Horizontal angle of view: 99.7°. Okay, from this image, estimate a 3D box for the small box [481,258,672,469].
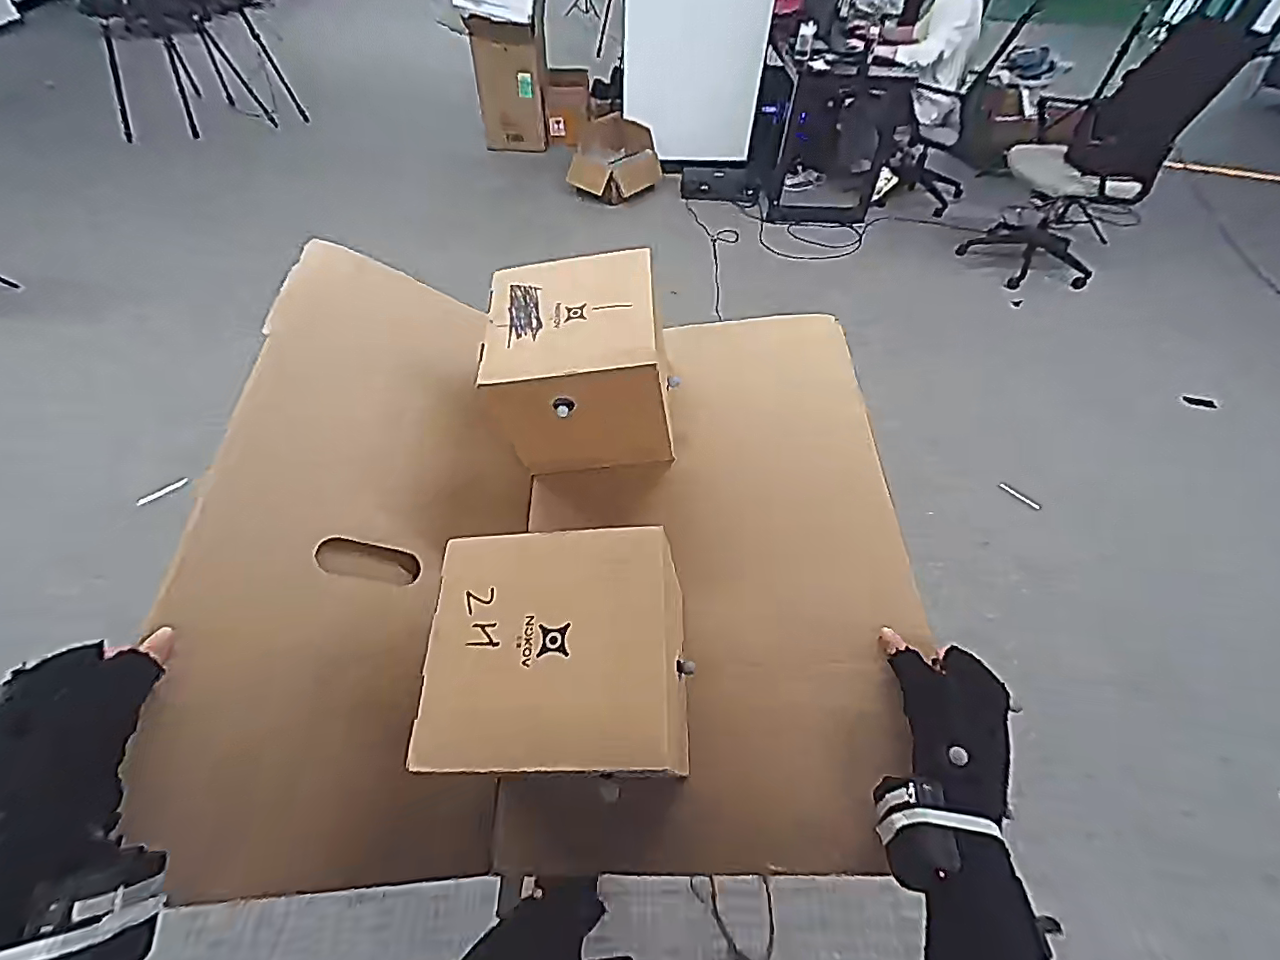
[{"bbox_3d":[-0.060,-0.125,0.629,0.179,0.176,0.168,-5,59,6],"label":"small box"}]

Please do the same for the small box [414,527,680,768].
[{"bbox_3d":[-0.057,0.150,0.466,0.179,0.176,0.168,-4,59,8],"label":"small box"}]
